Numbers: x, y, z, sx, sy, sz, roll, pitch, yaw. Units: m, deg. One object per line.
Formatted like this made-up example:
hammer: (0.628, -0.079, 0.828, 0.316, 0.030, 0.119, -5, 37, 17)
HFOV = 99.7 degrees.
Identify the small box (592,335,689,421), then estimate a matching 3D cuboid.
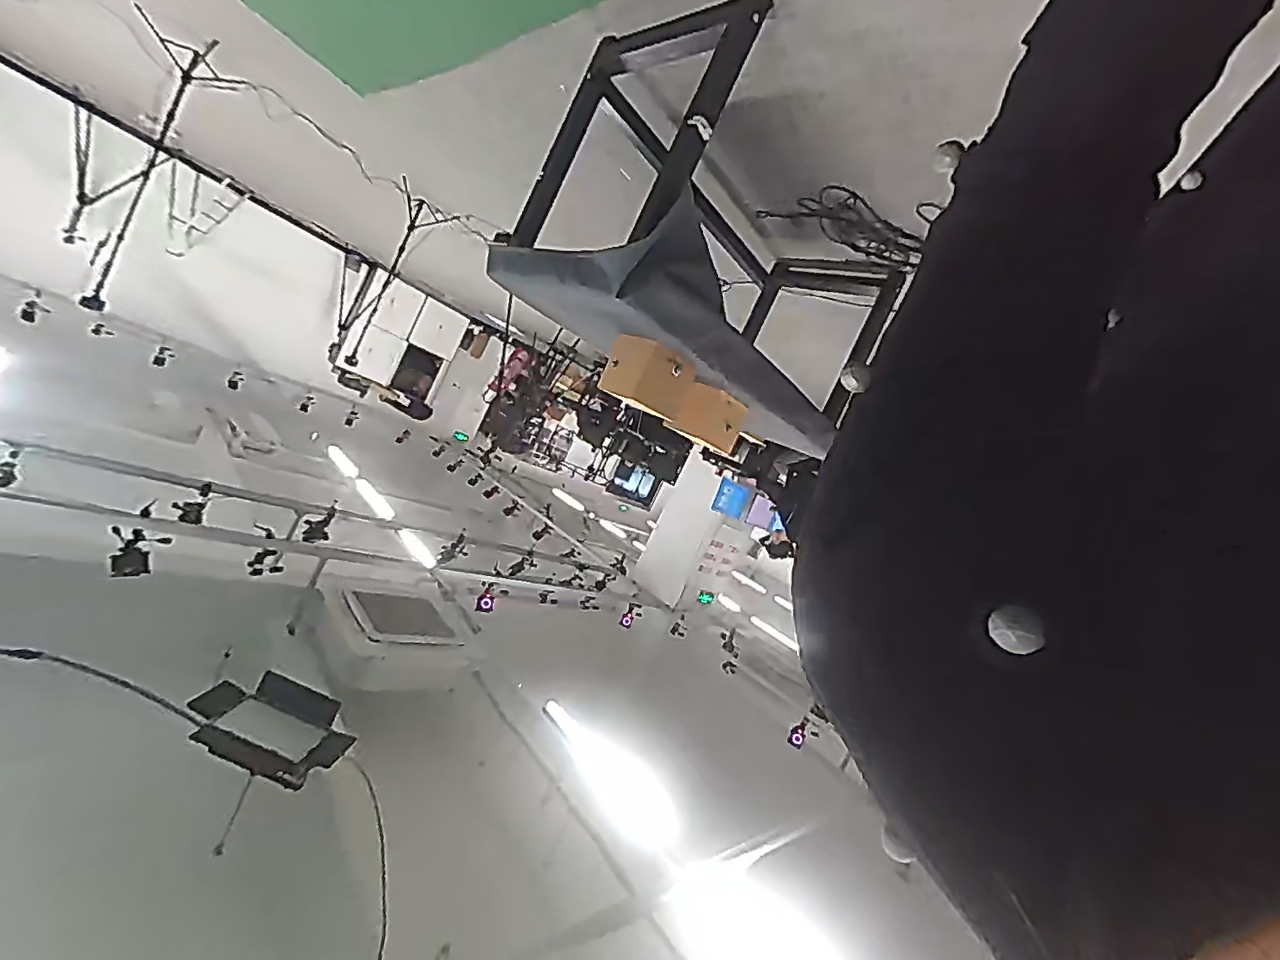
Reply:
small box: (0.003, -0.283, 1.476, 0.168, 0.176, 0.179, 21, -176, -41)

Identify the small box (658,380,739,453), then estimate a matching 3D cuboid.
small box: (0.196, -0.207, 1.728, 0.168, 0.176, 0.179, 22, -176, -42)
